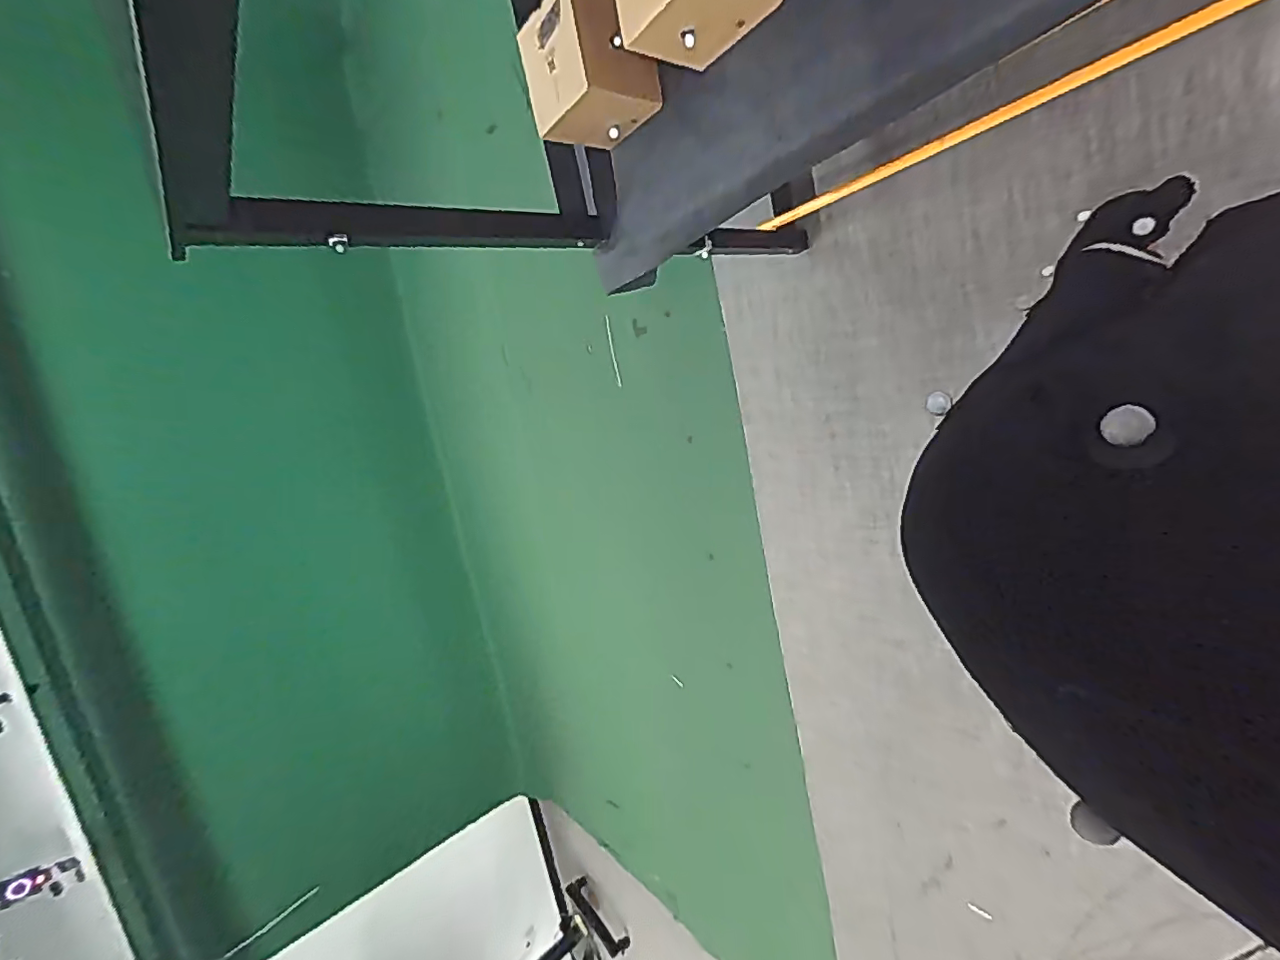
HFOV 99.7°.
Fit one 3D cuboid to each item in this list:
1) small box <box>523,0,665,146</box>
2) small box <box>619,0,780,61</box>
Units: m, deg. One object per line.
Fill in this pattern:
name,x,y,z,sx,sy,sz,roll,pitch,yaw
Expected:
small box,-0.080,-0.726,0.957,0.168,0.176,0.179,-1,105,52
small box,0.079,-0.732,0.760,0.168,0.176,0.179,-1,103,52
